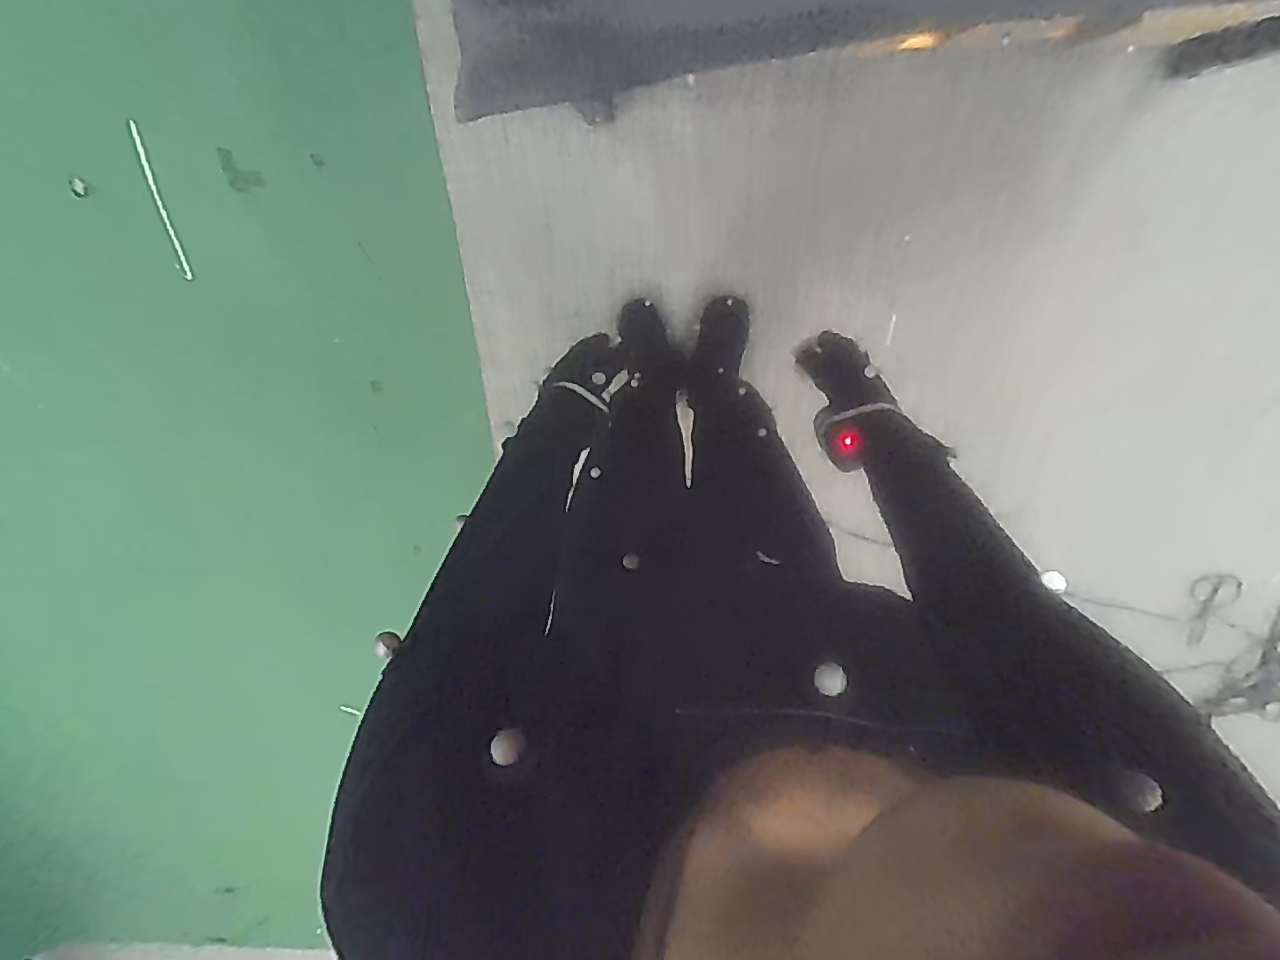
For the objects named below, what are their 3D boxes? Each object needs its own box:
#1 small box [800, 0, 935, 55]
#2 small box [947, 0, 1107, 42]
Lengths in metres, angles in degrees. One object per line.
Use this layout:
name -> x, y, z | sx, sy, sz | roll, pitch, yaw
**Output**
small box -> 0.355, -0.789, 0.846 | 0.168, 0.176, 0.179 | -1, 117, 3
small box -> 0.599, -0.799, 0.829 | 0.168, 0.176, 0.179 | -2, 117, 4
